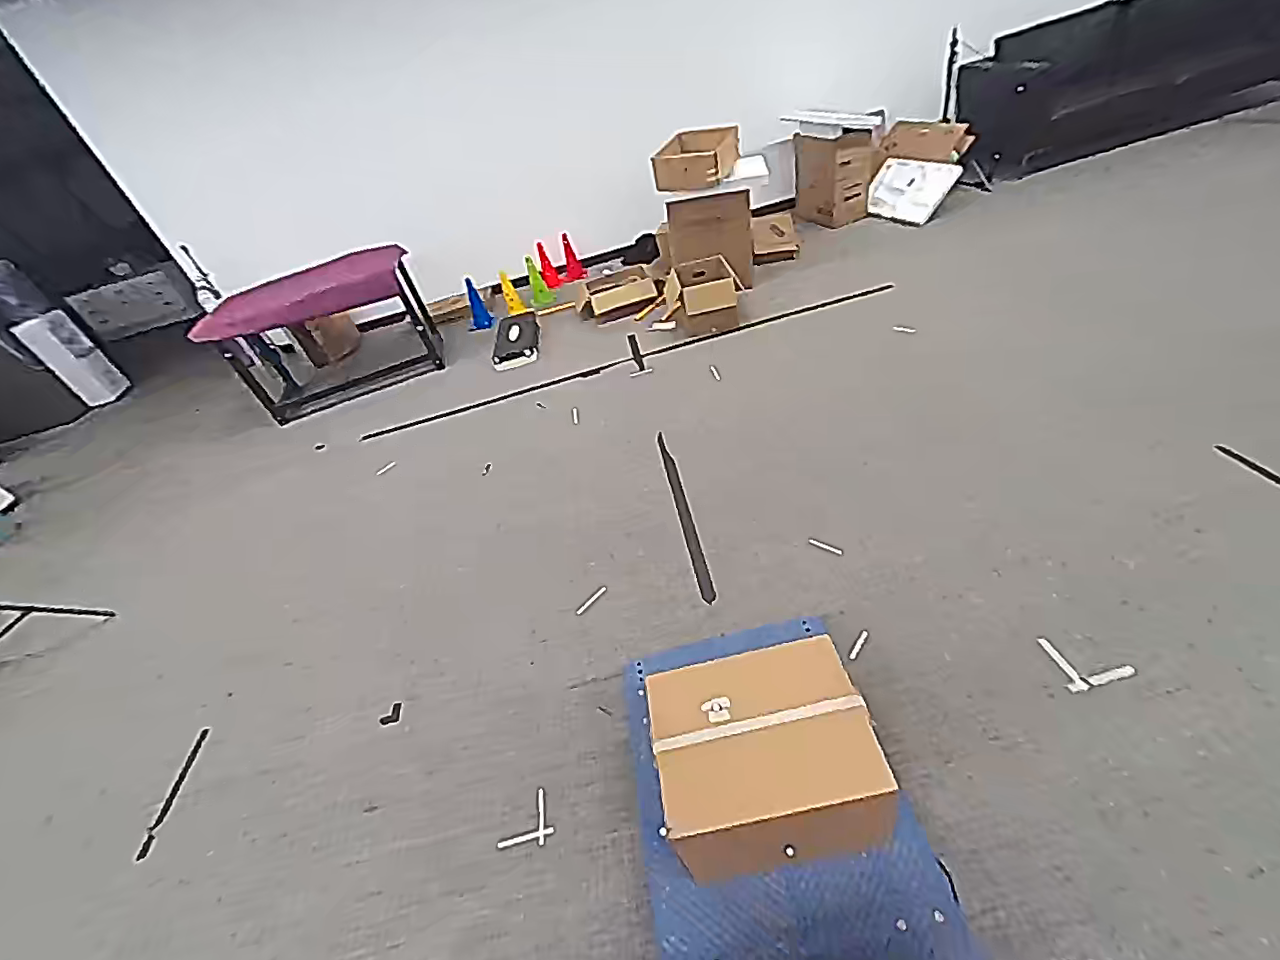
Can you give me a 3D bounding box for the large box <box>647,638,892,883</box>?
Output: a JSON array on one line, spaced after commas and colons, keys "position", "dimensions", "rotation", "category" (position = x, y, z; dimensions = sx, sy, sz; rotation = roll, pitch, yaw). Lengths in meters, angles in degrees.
[{"position": [0.261, 0.593, 1.143], "dimensions": [0.408, 0.320, 0.320], "rotation": [-15, 38, 3], "category": "large box"}]
